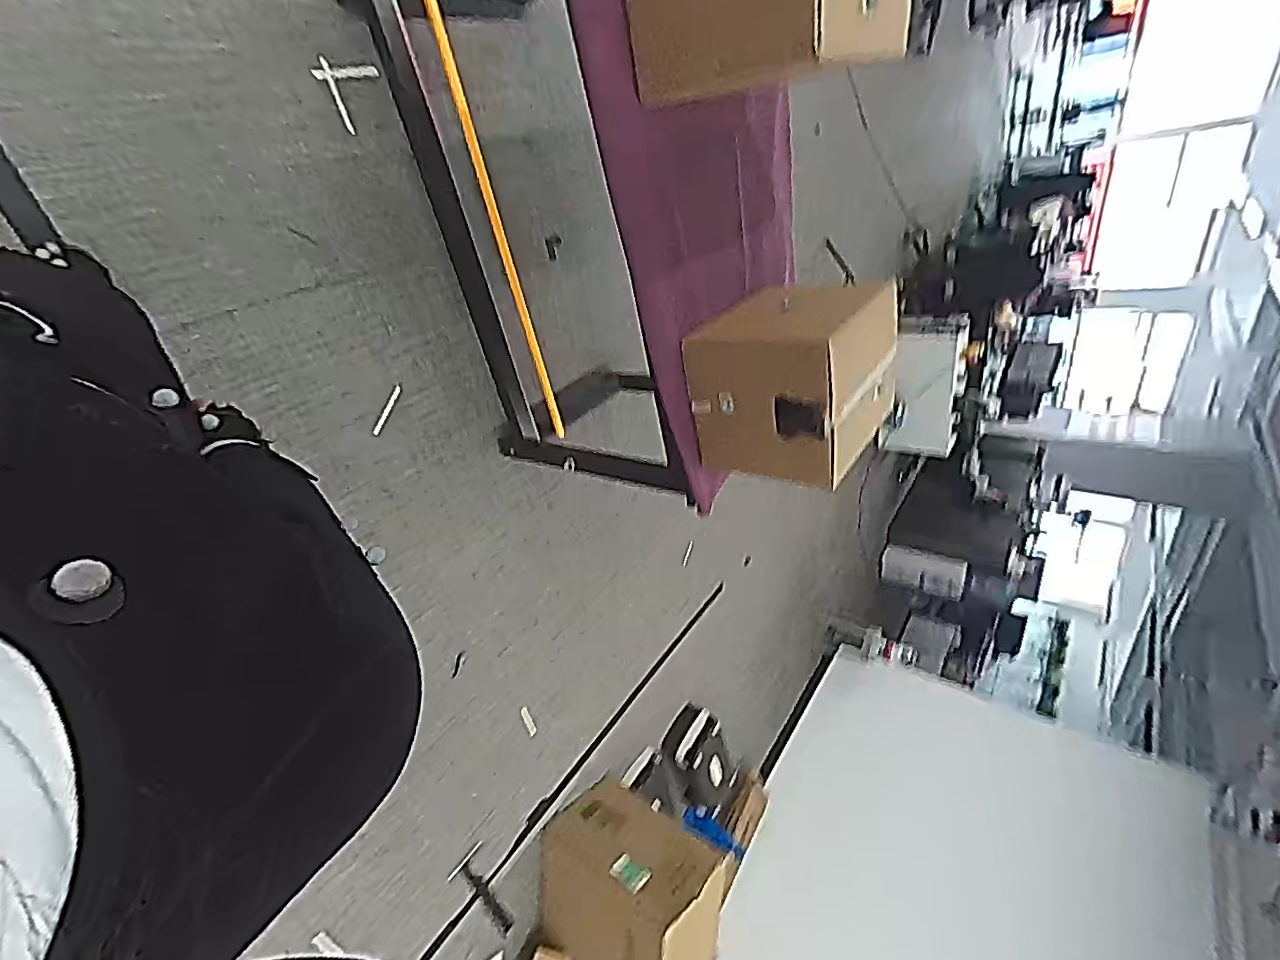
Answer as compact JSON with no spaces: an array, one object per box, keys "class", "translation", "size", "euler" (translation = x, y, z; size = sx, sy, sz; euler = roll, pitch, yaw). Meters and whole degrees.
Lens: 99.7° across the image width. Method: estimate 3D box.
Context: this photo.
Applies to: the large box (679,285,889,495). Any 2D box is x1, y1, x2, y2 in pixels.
[{"class":"large box","translation":[0.337,-0.219,1.218],"size":[0.408,0.320,0.320],"euler":[-41,131,-40]}]
